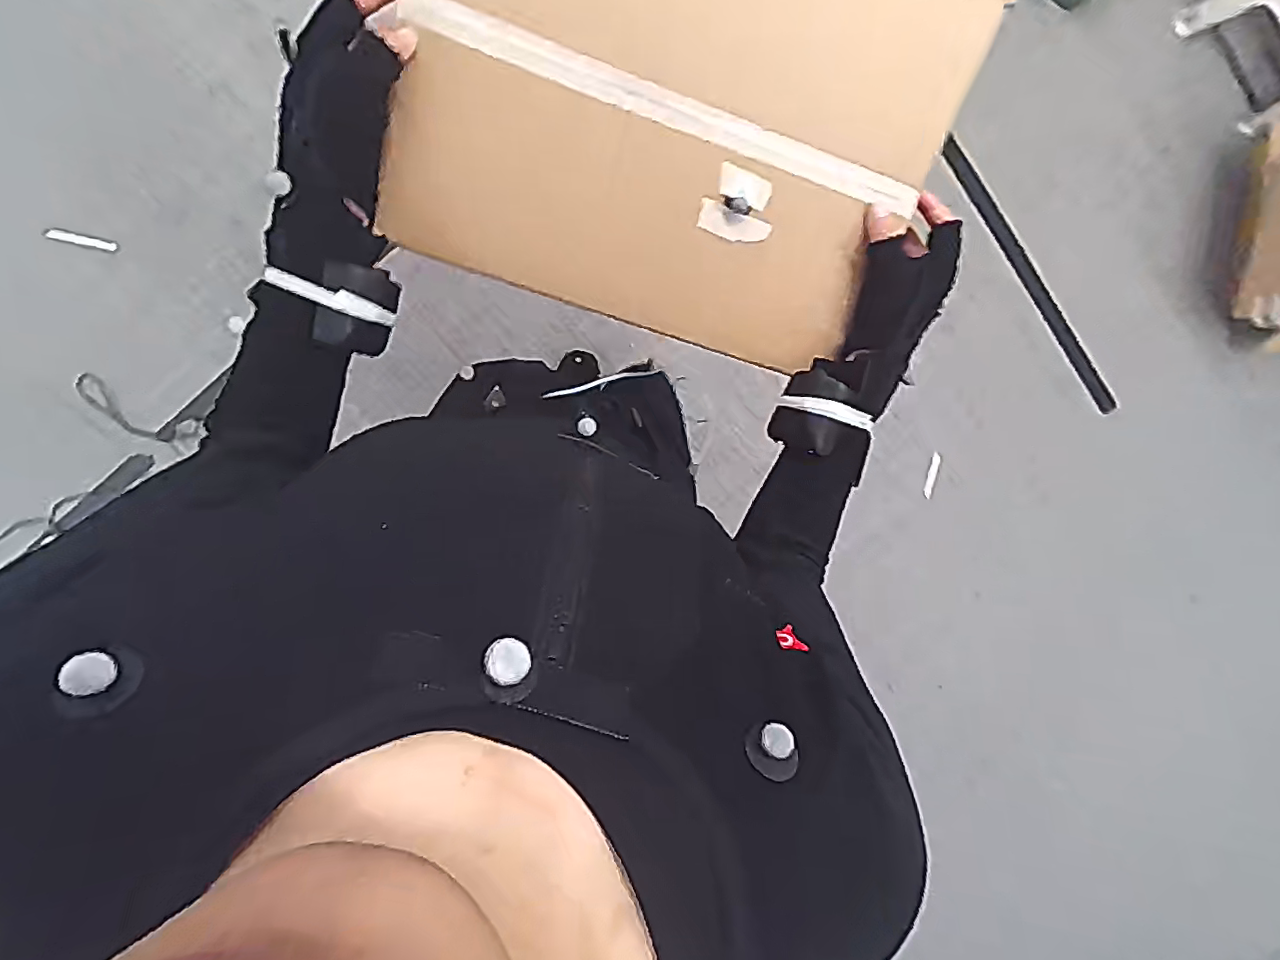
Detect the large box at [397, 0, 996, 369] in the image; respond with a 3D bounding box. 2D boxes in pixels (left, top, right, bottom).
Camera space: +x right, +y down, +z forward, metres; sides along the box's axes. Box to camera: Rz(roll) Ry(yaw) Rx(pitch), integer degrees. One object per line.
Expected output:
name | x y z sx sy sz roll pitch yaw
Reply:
large box | 0.023 -0.348 0.554 0.408 0.320 0.320 16 114 -11
